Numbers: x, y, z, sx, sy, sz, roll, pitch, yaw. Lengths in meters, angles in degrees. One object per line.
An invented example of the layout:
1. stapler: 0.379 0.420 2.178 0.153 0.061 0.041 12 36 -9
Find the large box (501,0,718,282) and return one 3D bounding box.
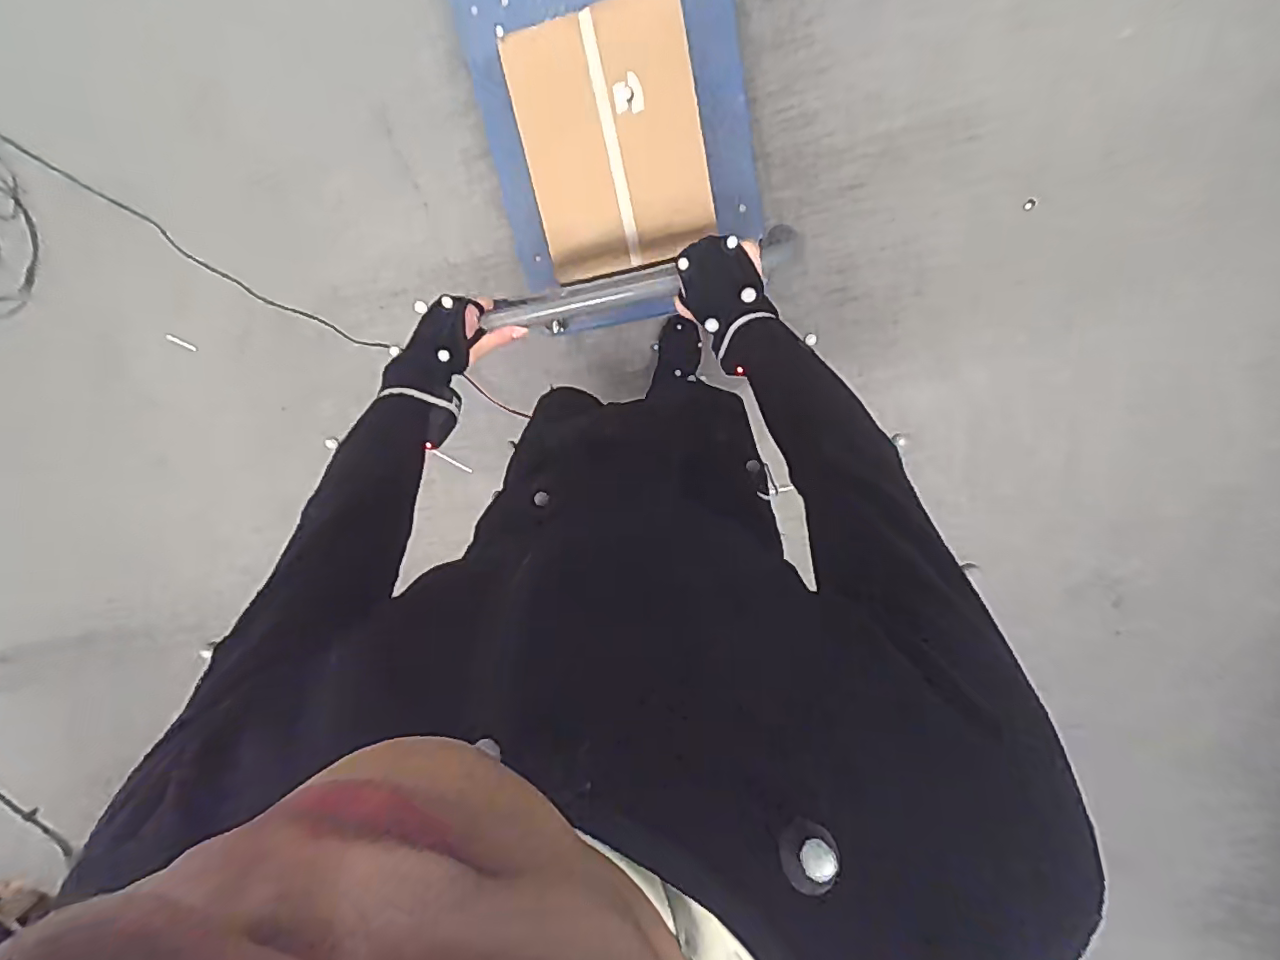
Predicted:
1. large box: -0.030 -0.644 1.096 0.320 0.320 0.408 -10 108 10
